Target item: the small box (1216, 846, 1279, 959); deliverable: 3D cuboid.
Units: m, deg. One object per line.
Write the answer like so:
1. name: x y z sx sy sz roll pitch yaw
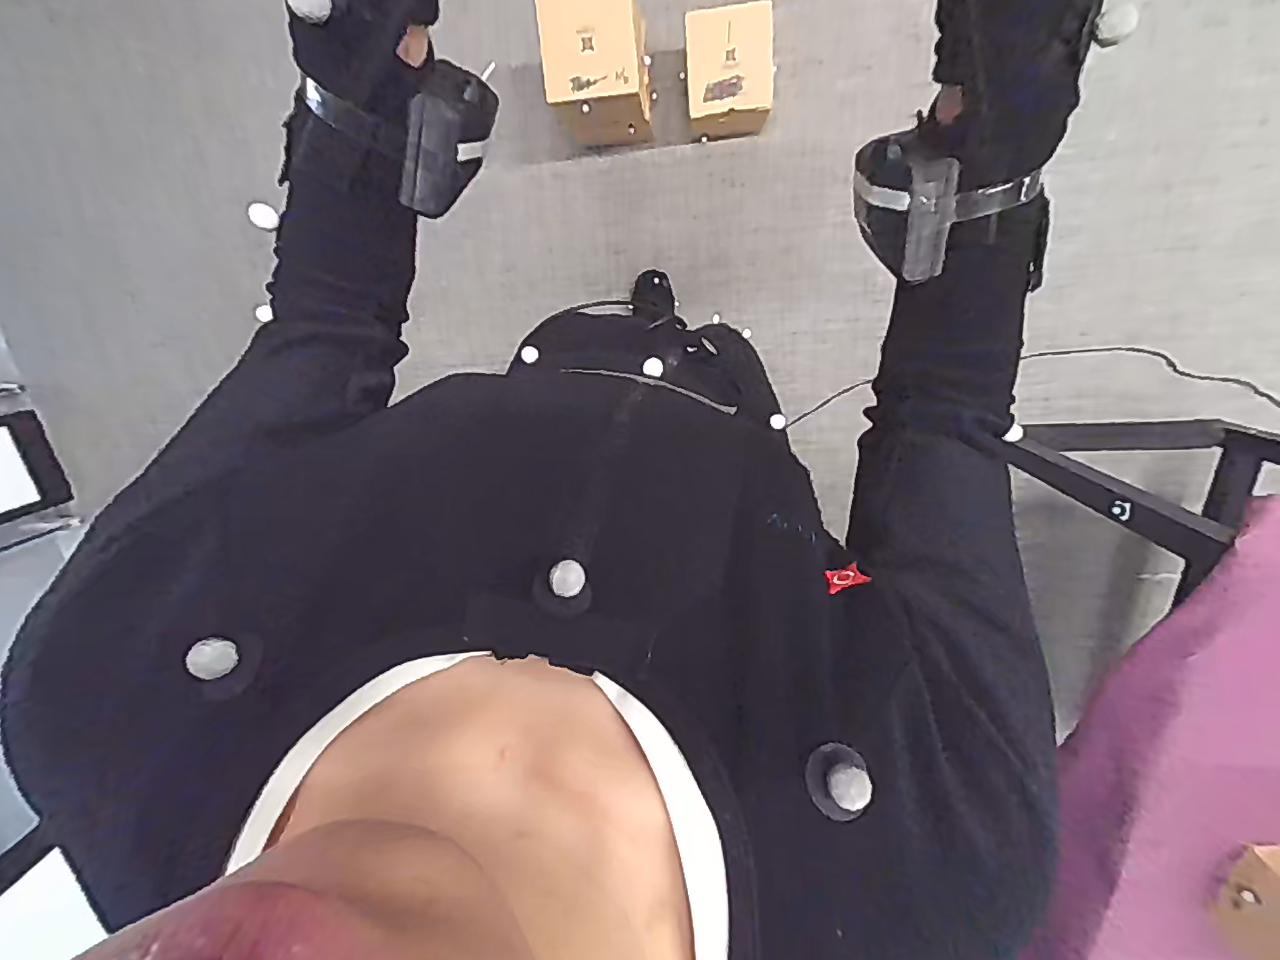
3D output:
1. small box: 1.024 0.670 0.782 0.179 0.176 0.168 3 108 5

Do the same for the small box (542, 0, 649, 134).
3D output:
1. small box: -0.074 -0.767 0.993 0.168 0.176 0.179 -2 107 6

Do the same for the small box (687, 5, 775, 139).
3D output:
1. small box: 0.185 -0.827 1.119 0.168 0.176 0.179 -3 108 6
